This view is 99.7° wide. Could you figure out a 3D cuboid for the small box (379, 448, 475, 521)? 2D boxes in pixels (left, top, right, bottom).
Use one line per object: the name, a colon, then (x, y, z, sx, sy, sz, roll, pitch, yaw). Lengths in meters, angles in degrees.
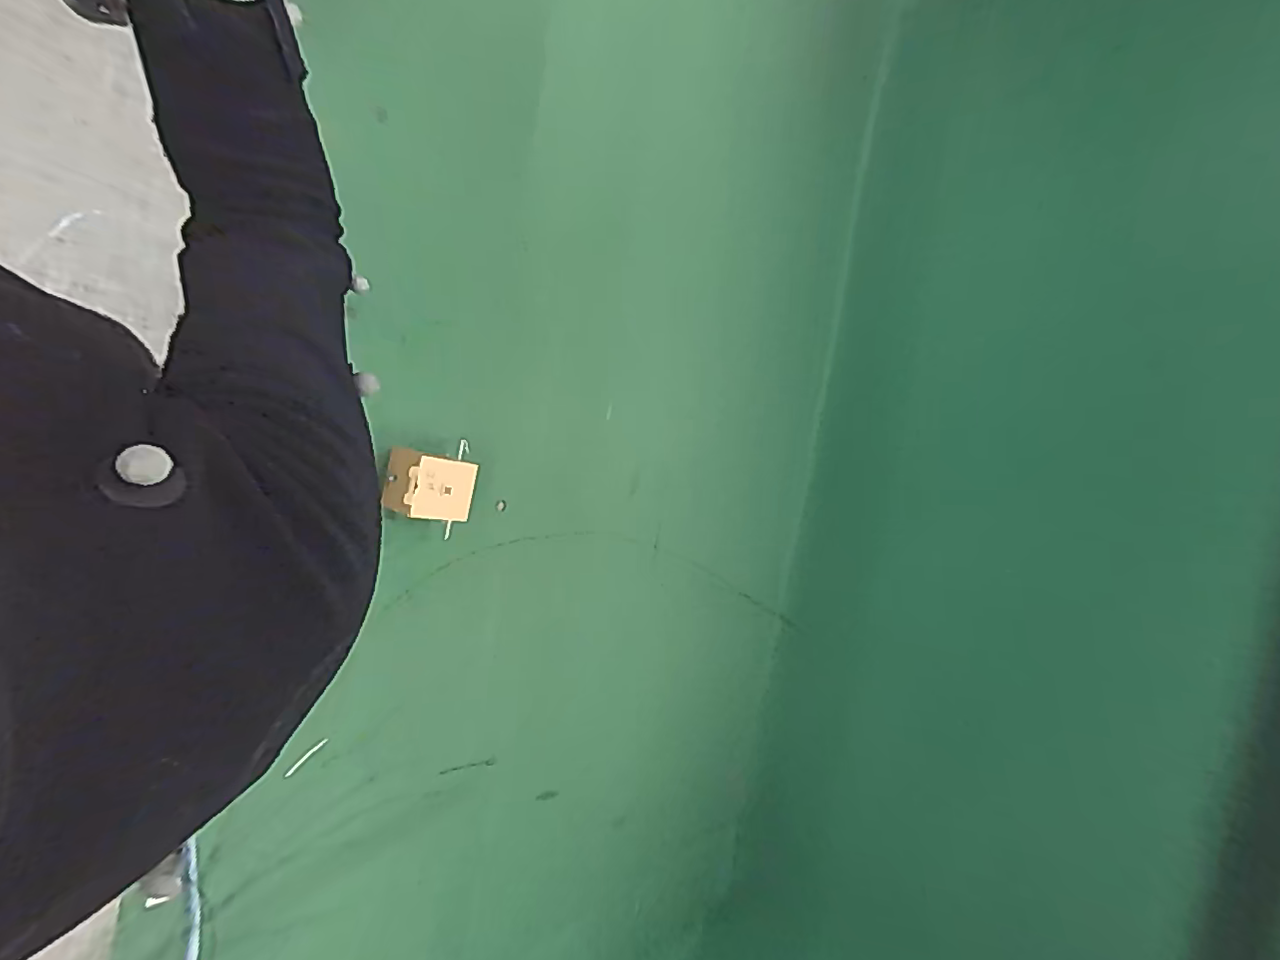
small box: (-0.597, 0.010, 1.516, 0.179, 0.176, 0.168, 12, 90, -50)
